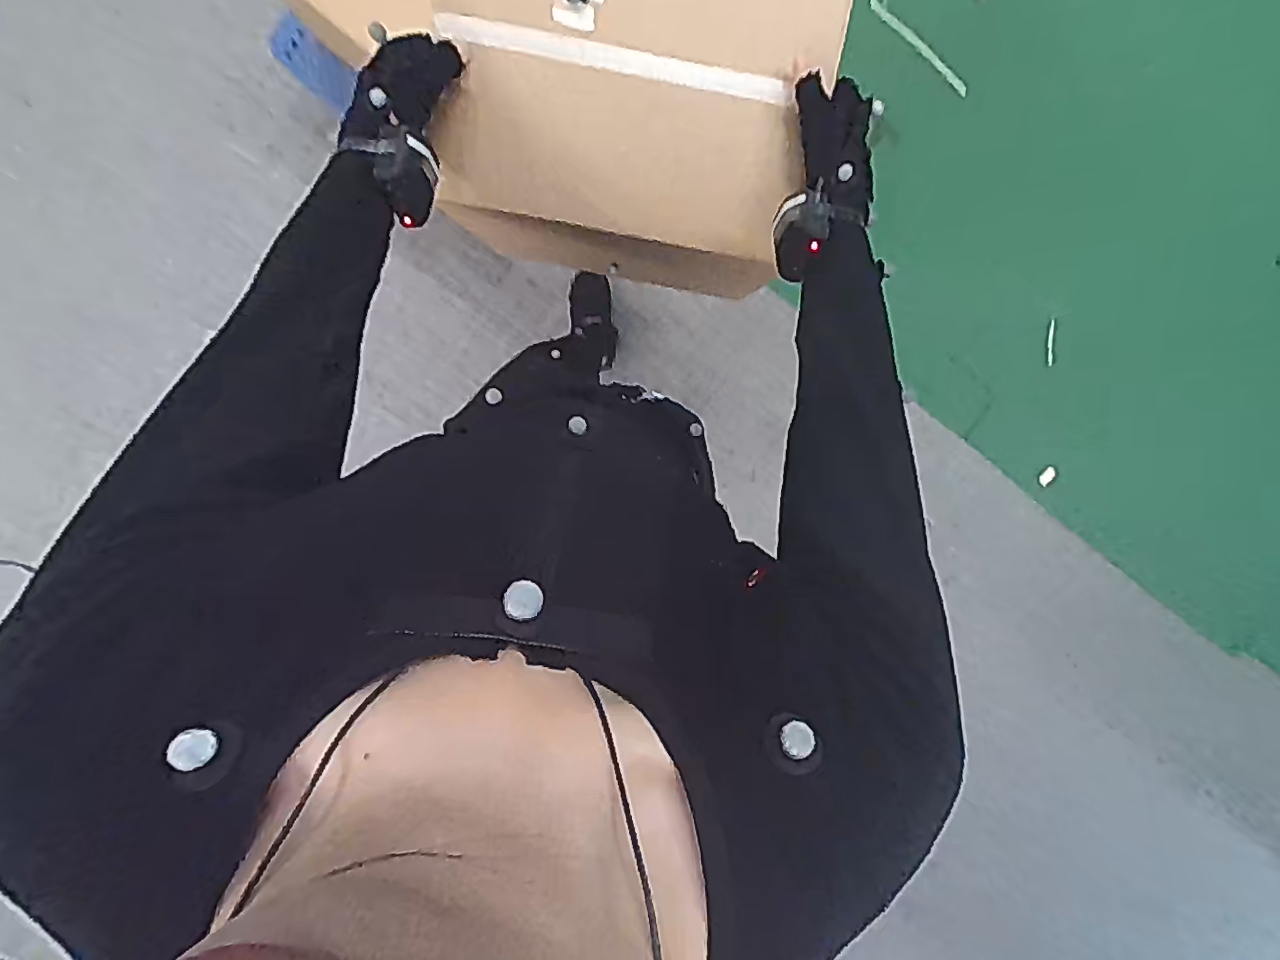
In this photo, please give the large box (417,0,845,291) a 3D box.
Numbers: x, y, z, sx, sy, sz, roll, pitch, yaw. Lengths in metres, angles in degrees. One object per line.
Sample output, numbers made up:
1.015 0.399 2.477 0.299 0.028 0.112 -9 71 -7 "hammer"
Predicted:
-0.008 -0.441 0.678 0.408 0.320 0.320 10 101 -1 "large box"
